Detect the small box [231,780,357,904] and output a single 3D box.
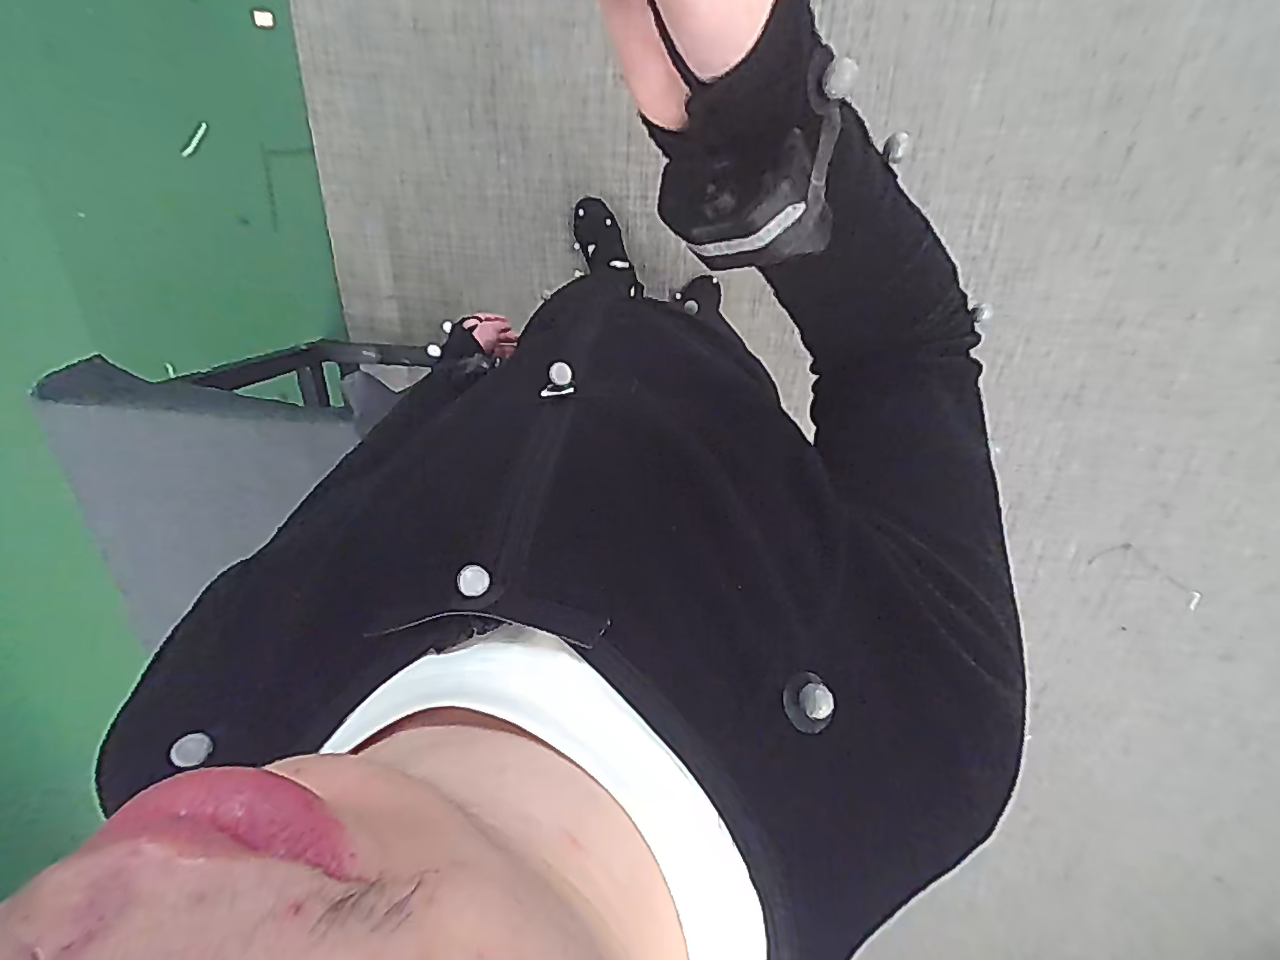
[{"bbox_3d":[-0.800,0.842,1.269,0.168,0.176,0.179,4,113,7],"label":"small box"}]
